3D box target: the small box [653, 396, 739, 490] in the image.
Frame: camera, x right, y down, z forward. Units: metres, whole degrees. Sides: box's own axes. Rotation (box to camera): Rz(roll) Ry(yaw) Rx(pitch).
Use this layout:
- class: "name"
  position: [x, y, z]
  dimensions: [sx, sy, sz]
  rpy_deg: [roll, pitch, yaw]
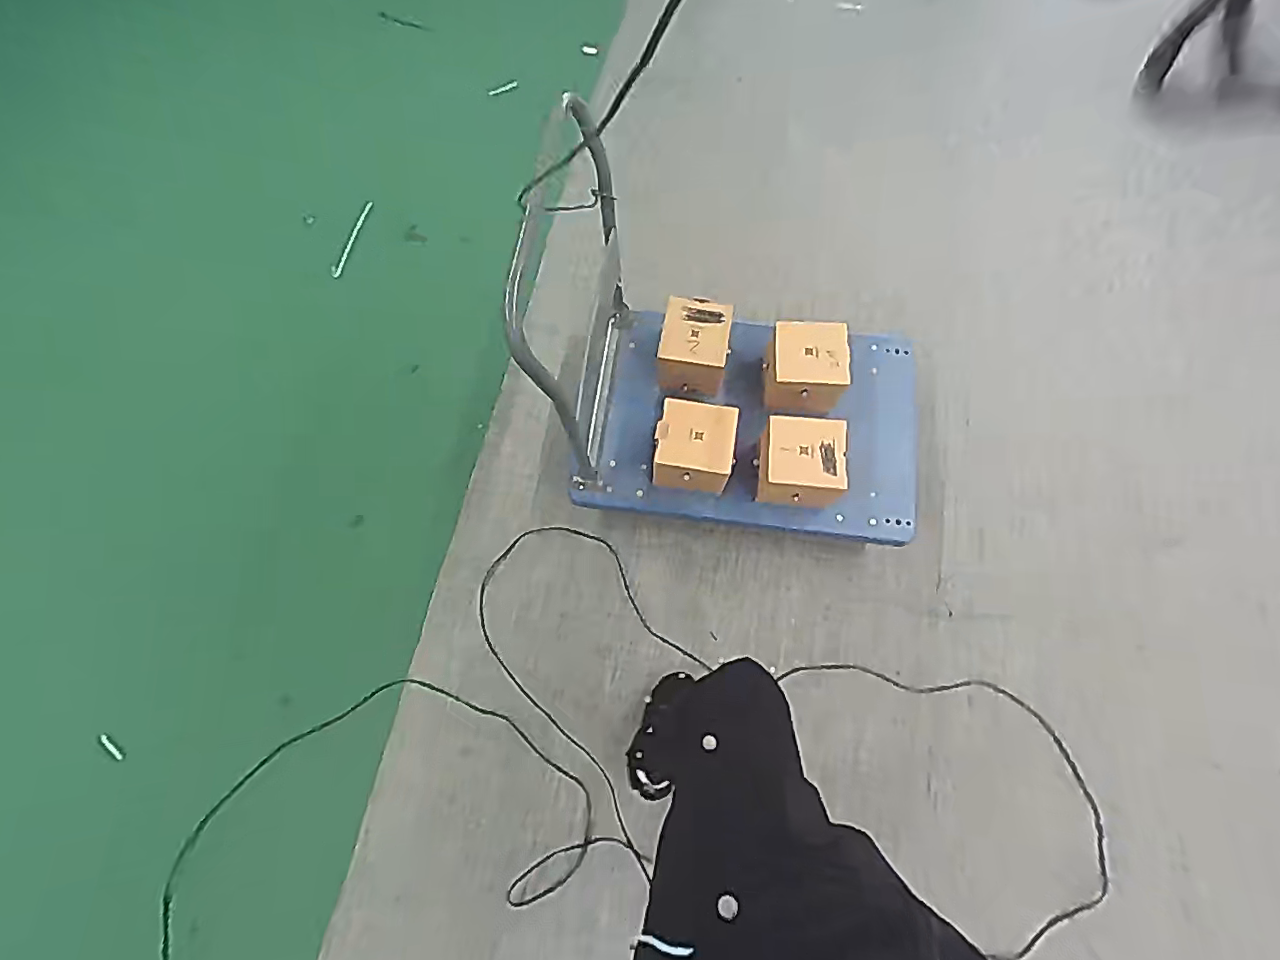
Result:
- class: "small box"
  position: [0.130, -0.082, 1.304]
  dimensions: [0.179, 0.176, 0.168]
  rpy_deg: [9, 73, 5]

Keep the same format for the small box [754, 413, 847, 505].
- class: "small box"
  position: [0.376, -0.043, 1.283]
  dimensions: [0.179, 0.176, 0.168]
  rpy_deg: [6, 72, 4]

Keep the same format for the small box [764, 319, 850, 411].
- class: "small box"
  position: [0.411, -0.284, 1.358]
  dimensions: [0.179, 0.176, 0.168]
  rpy_deg: [4, 73, 3]
